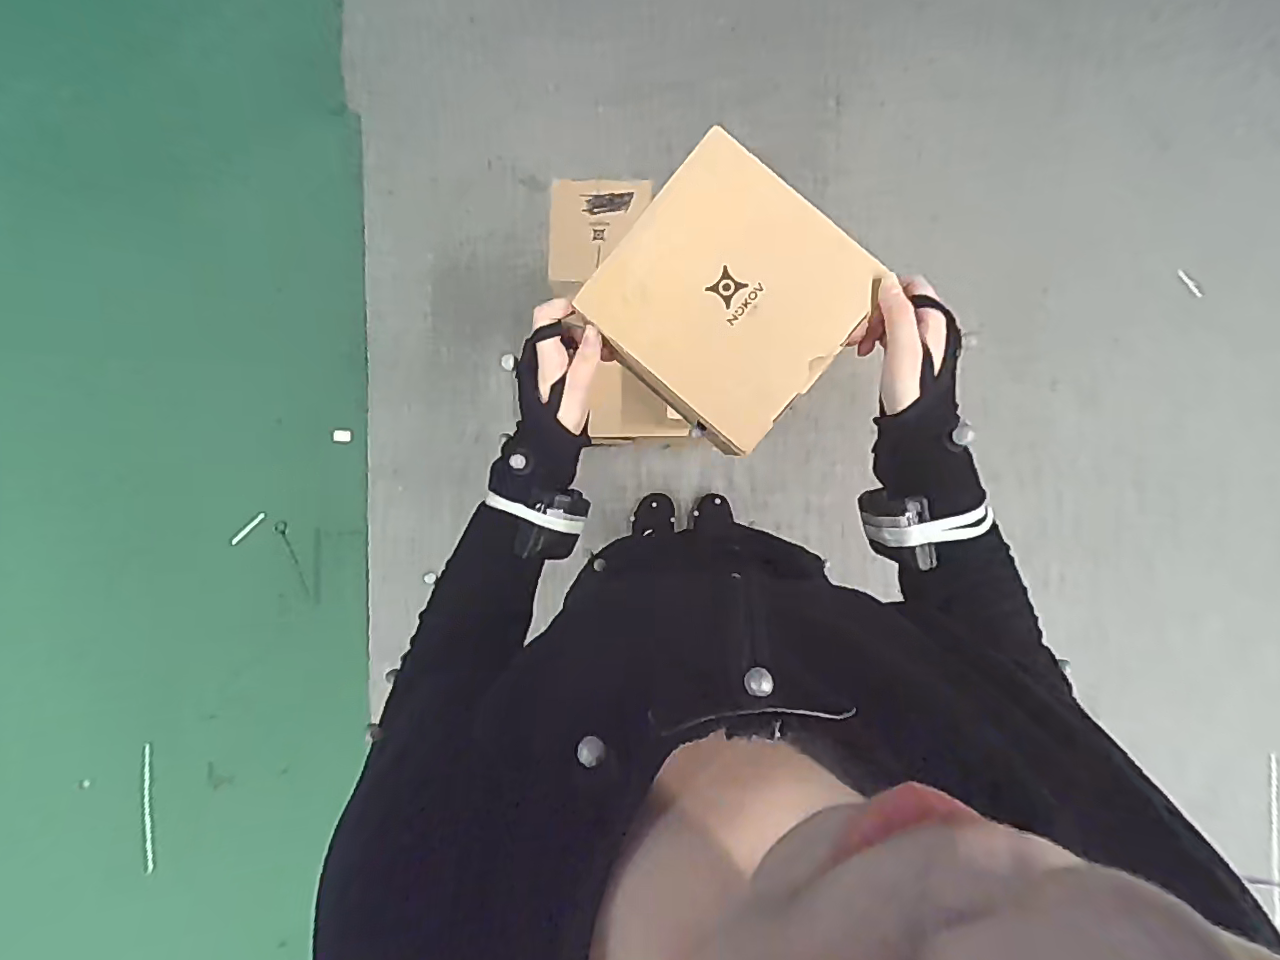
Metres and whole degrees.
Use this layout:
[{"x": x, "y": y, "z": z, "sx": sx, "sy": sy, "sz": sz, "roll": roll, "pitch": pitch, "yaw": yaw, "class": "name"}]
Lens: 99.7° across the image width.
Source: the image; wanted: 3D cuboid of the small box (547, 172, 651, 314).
[{"x": -0.065, "y": -0.412, "z": 0.960, "sx": 0.168, "sy": 0.176, "sz": 0.179, "roll": 2, "pitch": 88, "yaw": 2, "class": "small box"}]

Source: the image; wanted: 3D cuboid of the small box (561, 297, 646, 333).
[{"x": -0.069, "y": -0.420, "z": 1.126, "sx": 0.168, "sy": 0.176, "sz": 0.179, "roll": -1, "pitch": 87, "yaw": 2, "class": "small box"}]
